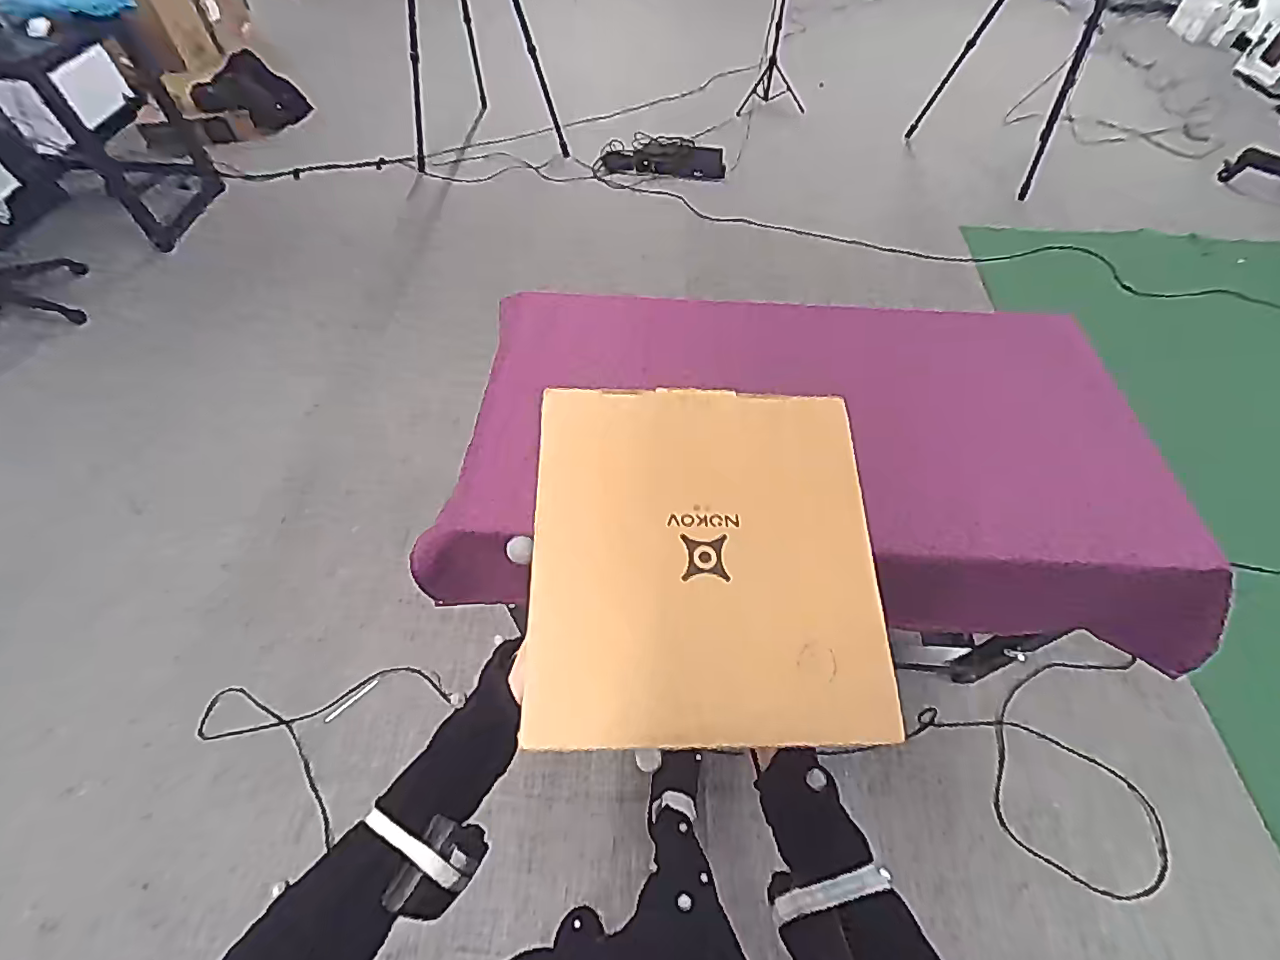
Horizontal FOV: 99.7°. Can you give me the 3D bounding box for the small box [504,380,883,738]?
[{"bbox_3d":[0.021,0.058,0.334,0.168,0.176,0.179,1,66,-3],"label":"small box"}]
